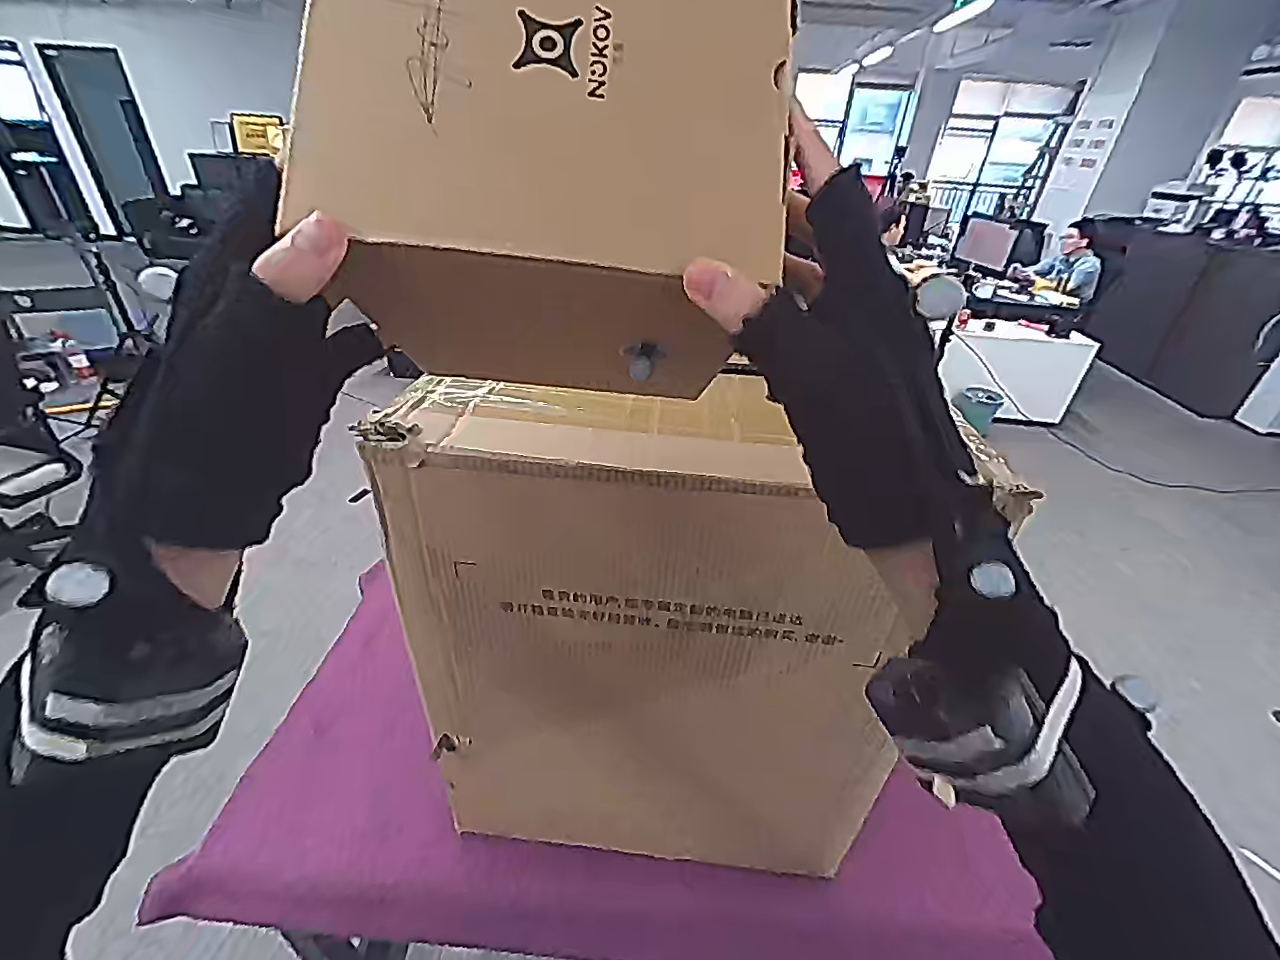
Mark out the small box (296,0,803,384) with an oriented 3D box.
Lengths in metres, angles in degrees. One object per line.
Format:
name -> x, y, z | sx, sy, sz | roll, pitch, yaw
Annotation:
small box -> -0.032, -0.154, 0.277 | 0.179, 0.168, 0.176 | 4, -7, -4
